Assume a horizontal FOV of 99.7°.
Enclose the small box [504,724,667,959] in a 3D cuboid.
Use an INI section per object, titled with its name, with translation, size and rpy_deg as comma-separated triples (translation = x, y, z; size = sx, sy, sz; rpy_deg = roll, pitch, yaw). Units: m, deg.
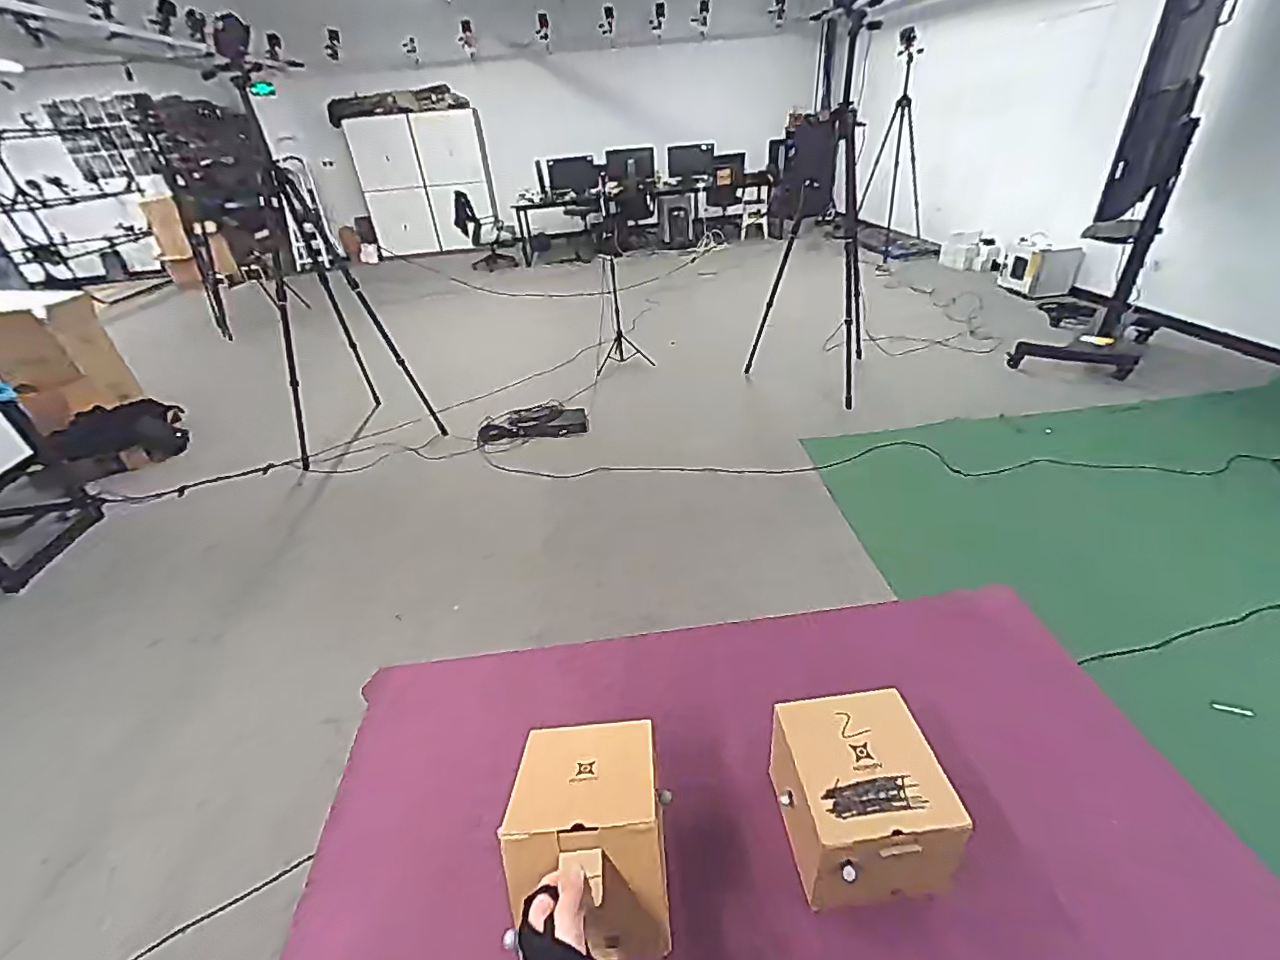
[small box]
translation = -0.058, 0.436, 0.669
size = 0.168, 0.176, 0.179
rpy_deg = -6, 11, 0
